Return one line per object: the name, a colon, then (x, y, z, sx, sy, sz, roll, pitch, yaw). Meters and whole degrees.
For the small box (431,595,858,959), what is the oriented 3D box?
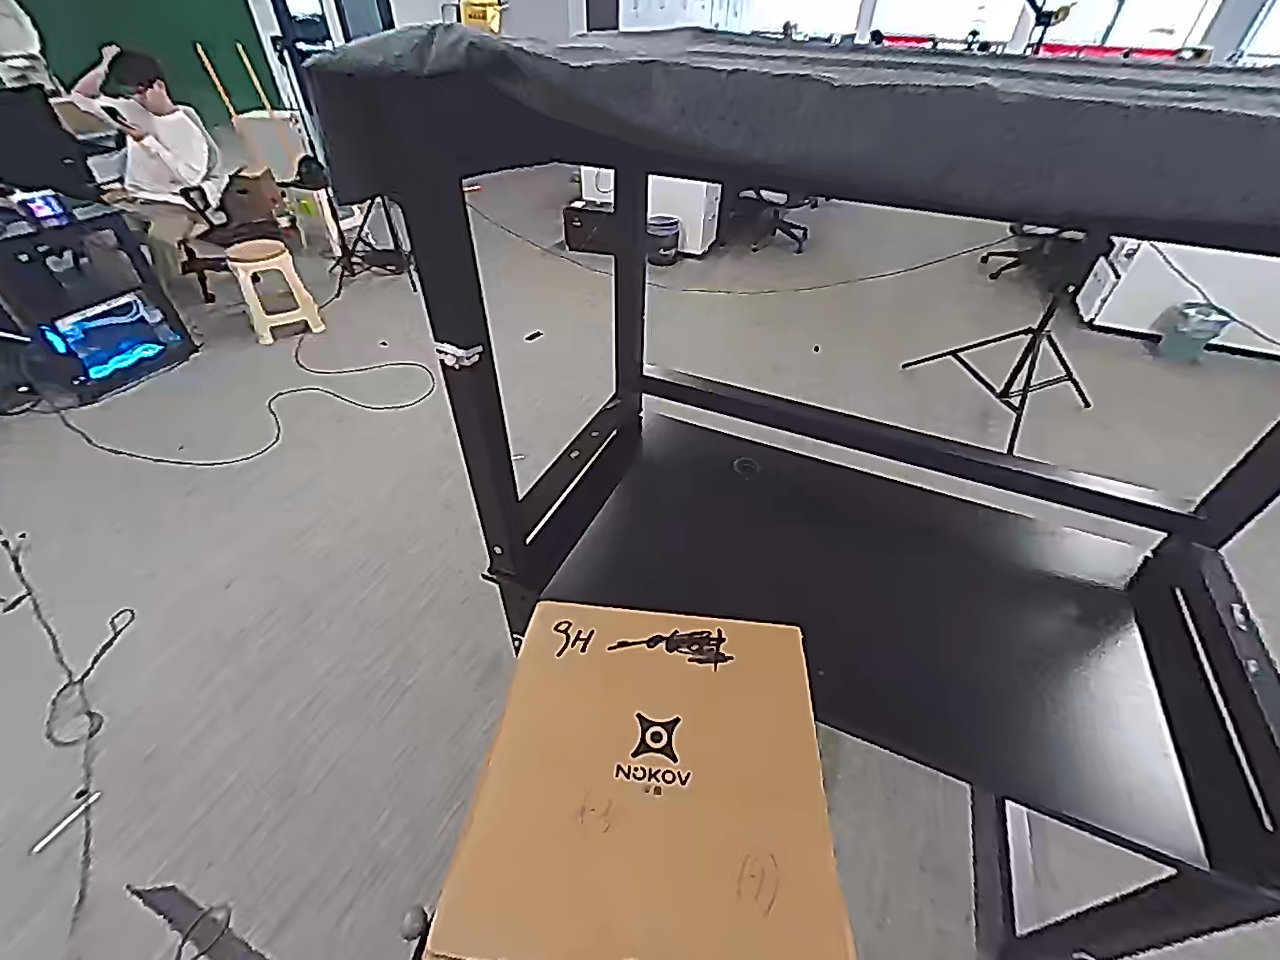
small box: (0.009, 0.194, 0.312, 0.168, 0.176, 0.179, 5, 41, 4)
